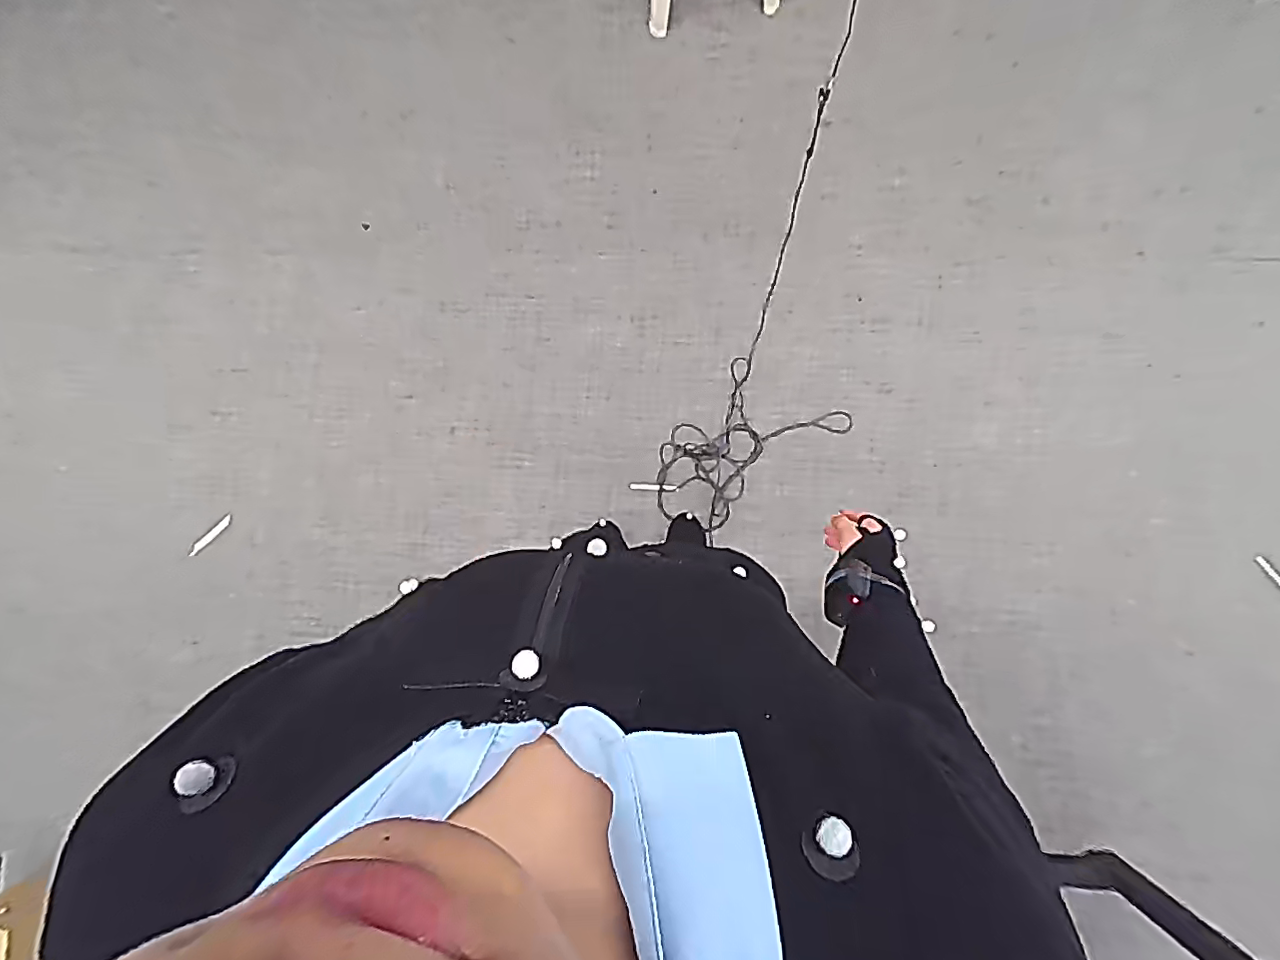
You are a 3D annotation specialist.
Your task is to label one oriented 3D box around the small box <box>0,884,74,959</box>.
[{"bbox_3d":[-1.696,1.230,1.452,0.179,0.176,0.168,5,85,5],"label":"small box"}]
